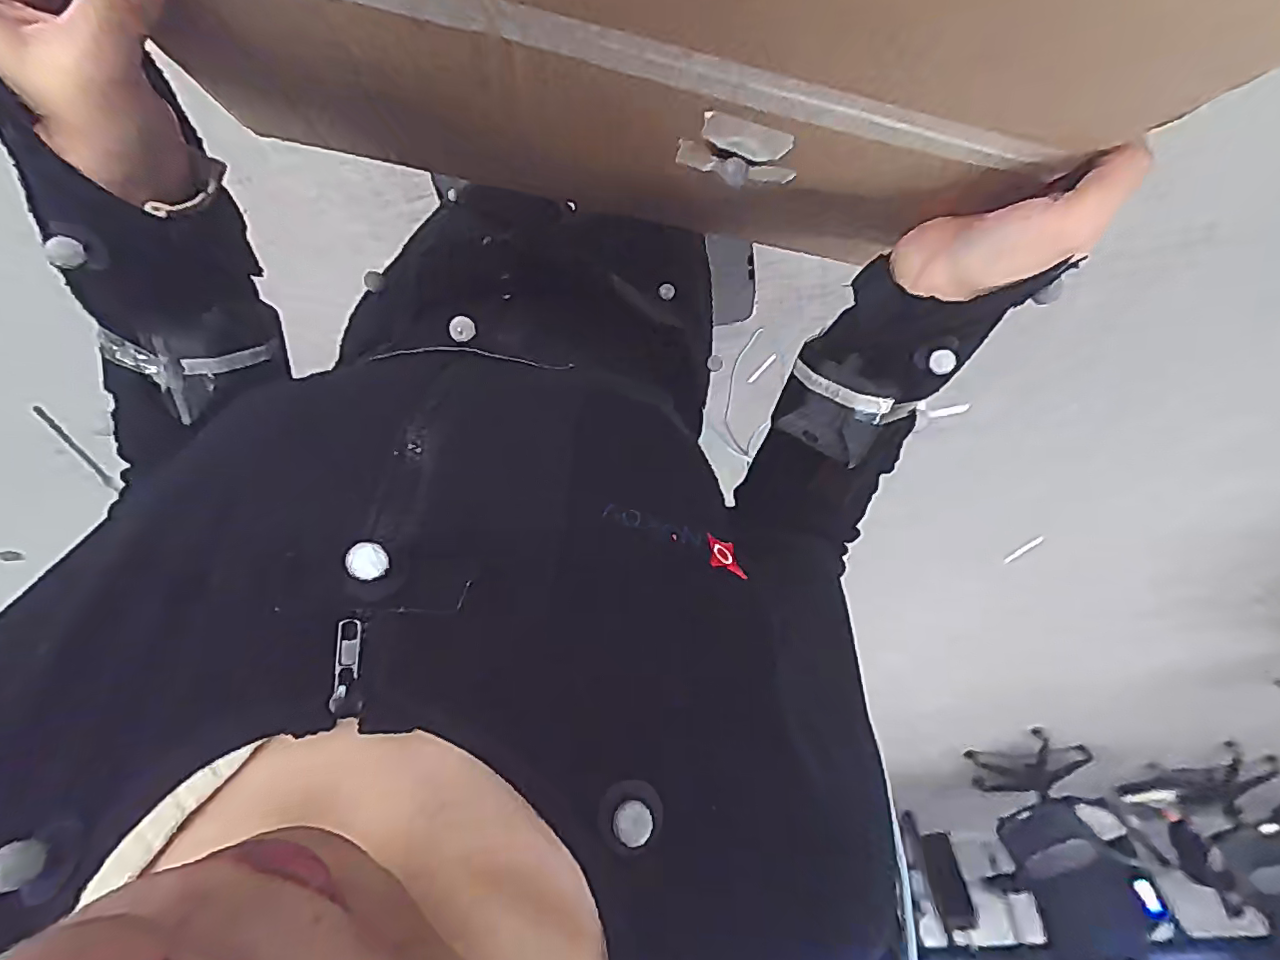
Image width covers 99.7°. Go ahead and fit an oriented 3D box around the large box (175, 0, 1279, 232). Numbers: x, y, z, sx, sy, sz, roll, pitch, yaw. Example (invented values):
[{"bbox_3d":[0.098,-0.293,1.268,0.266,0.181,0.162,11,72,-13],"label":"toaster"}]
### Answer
[{"bbox_3d":[0.028,-0.321,0.162,0.408,0.320,0.320,8,95,-8],"label":"large box"}]
